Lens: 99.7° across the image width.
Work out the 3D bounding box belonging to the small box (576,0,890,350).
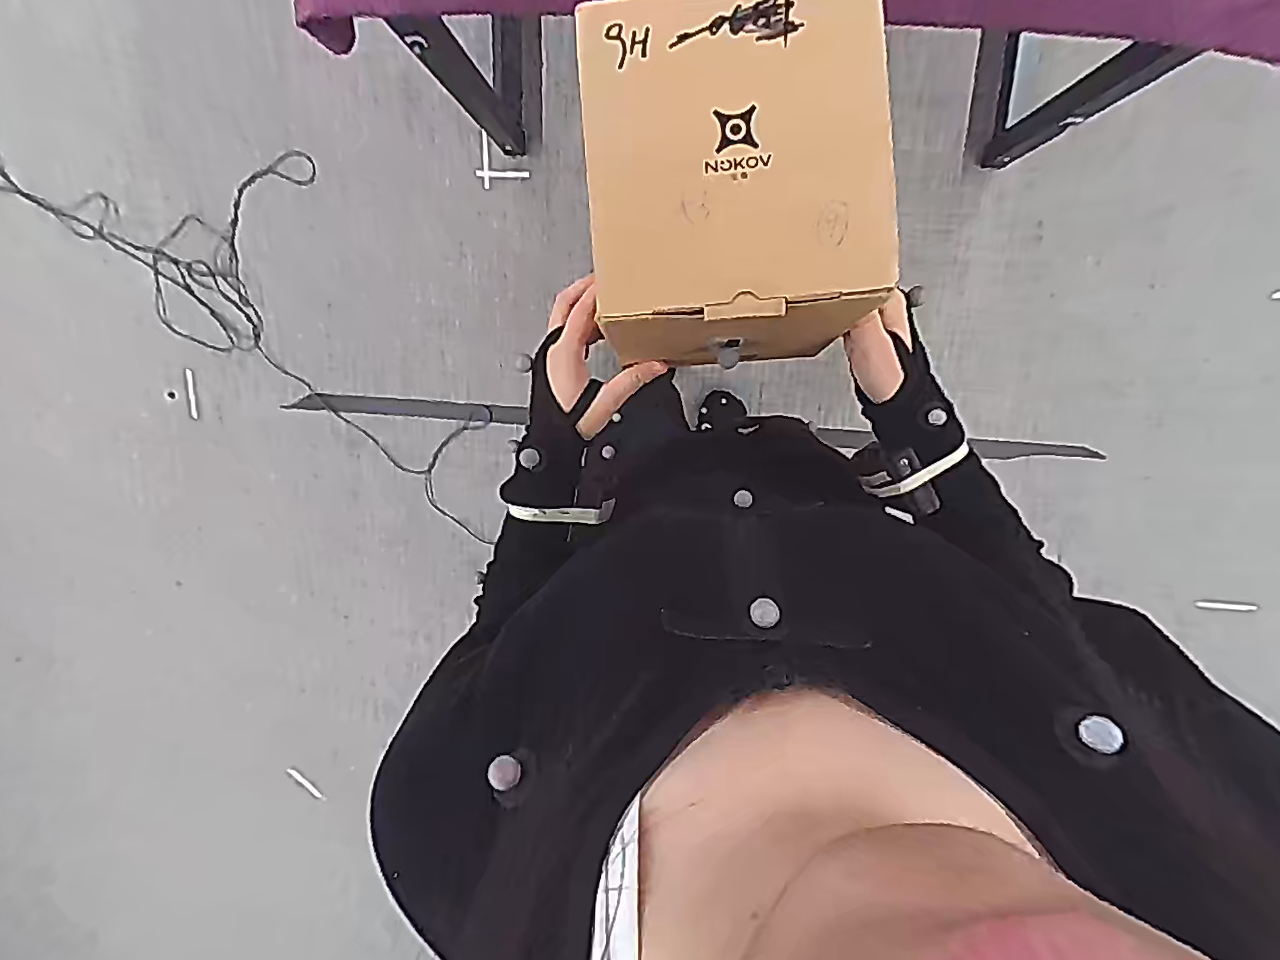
[{"bbox_3d":[0.056,-0.190,0.372,0.168,0.176,0.179,-3,92,4],"label":"small box"}]
